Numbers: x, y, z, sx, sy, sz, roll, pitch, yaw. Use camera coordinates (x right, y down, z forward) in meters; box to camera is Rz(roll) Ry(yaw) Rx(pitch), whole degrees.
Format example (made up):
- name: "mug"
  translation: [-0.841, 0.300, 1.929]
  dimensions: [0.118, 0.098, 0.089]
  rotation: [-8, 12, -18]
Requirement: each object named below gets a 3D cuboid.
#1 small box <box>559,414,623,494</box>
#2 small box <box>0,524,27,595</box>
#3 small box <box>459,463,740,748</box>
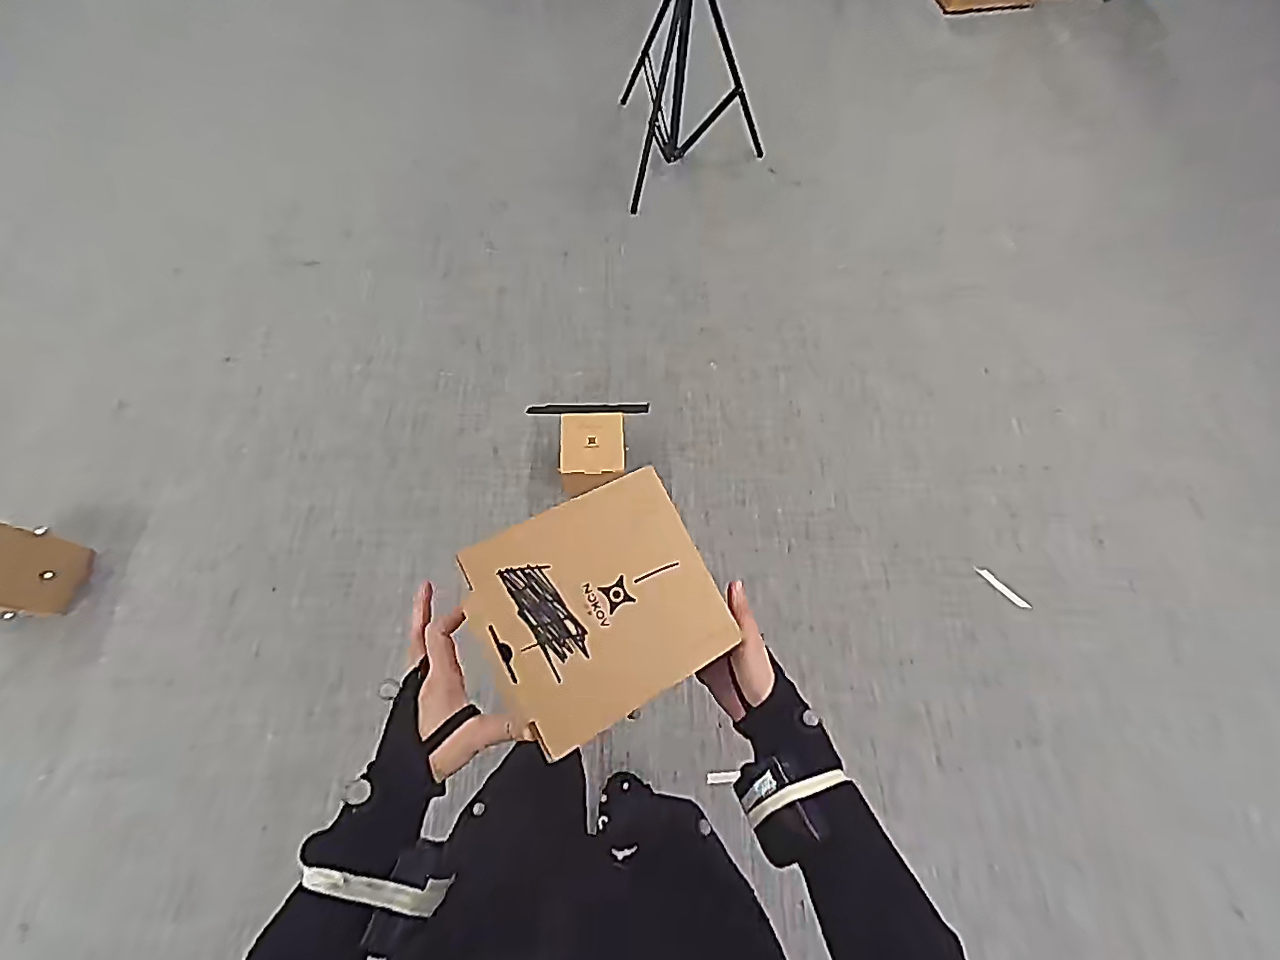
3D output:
- name: "small box"
  translation: [-0.131, -0.064, 1.486]
  dimensions: [0.168, 0.176, 0.179]
  rotation: [-2, 66, -4]
- name: "small box"
  translation: [-1.497, 0.164, 1.153]
  dimensions: [0.168, 0.176, 0.179]
  rotation: [3, 68, 0]
- name: "small box"
  translation: [-0.047, 0.111, 0.494]
  dimensions: [0.179, 0.176, 0.168]
  rotation: [-24, 81, -22]
